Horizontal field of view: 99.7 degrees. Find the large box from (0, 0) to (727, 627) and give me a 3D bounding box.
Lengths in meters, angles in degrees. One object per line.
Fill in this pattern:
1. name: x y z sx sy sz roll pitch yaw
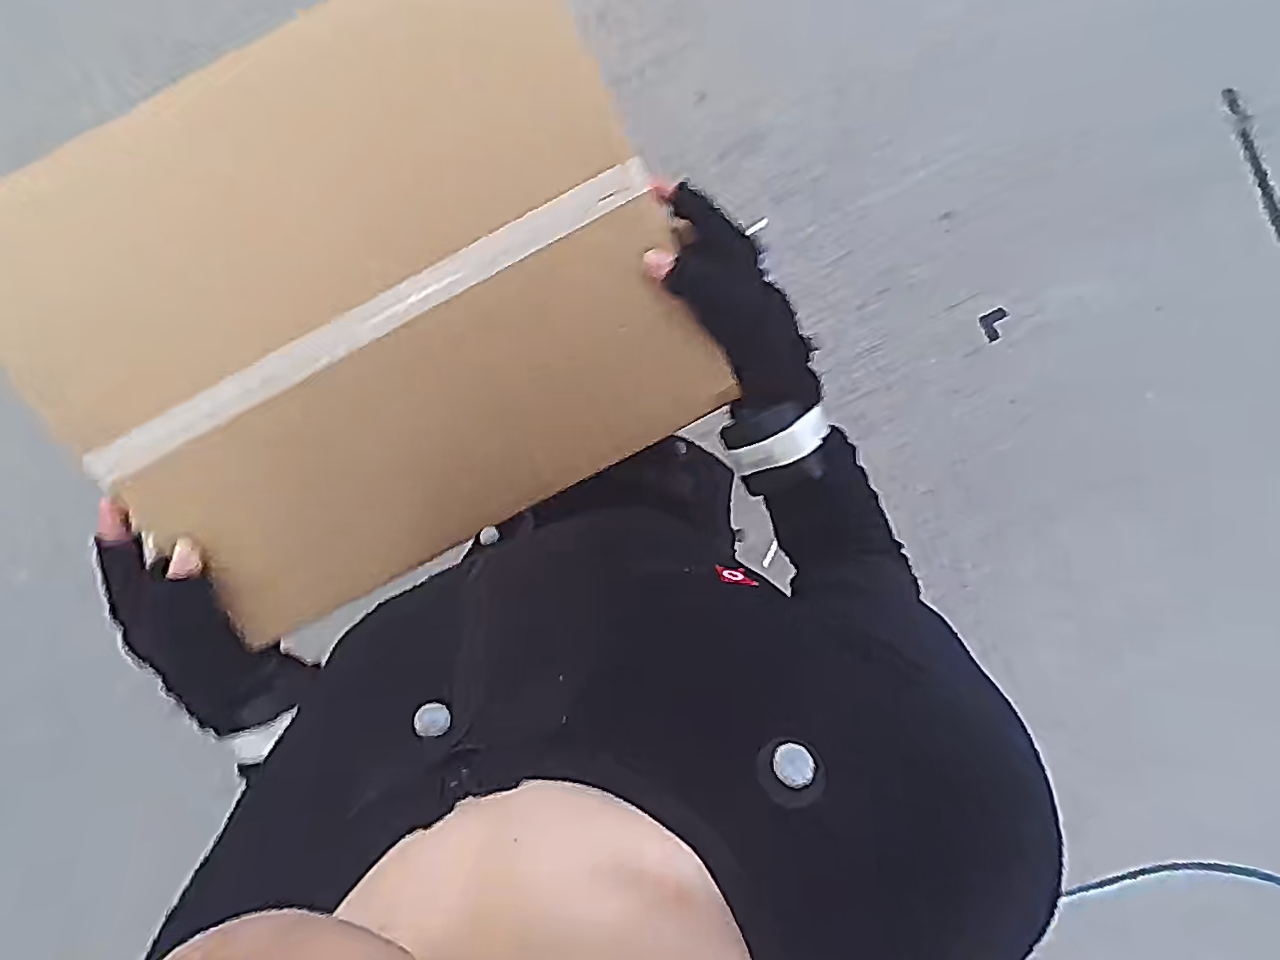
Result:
1. large box: -0.192 -0.145 0.504 0.408 0.320 0.320 -28 107 2
